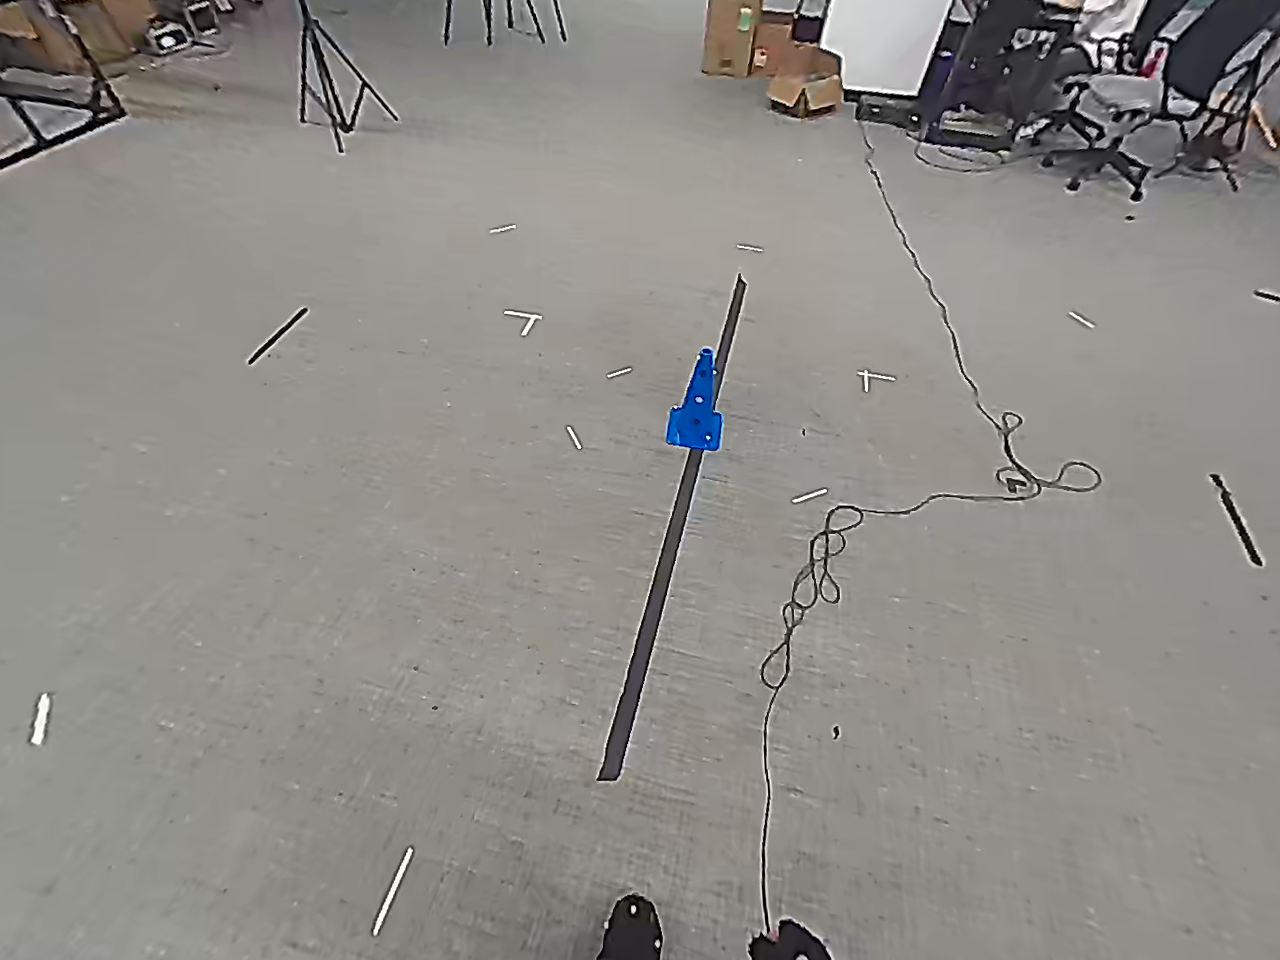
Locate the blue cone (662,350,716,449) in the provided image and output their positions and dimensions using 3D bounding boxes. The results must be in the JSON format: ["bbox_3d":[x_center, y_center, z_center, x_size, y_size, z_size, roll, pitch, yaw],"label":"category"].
[{"bbox_3d":[0.191,-0.296,1.909,0.192,0.380,0.193,9,51,6],"label":"blue cone"}]
